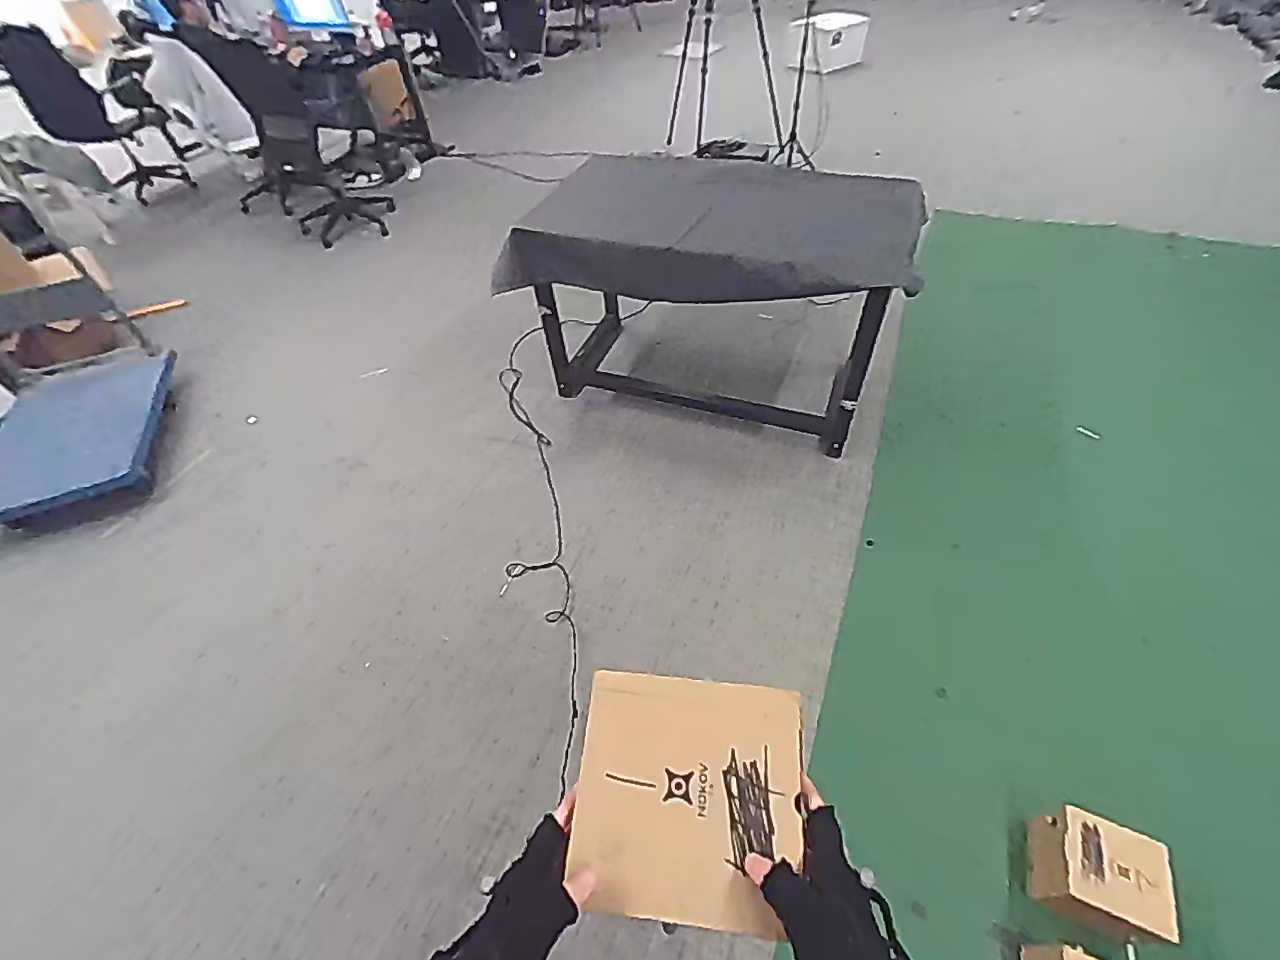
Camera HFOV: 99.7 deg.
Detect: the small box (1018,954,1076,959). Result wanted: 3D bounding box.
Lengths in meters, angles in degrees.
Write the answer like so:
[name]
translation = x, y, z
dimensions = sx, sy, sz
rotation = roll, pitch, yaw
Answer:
[small box]
translation = 0.807, 0.981, 0.961
dimensions = 0.179, 0.176, 0.168
rotation = 15, 52, 18
